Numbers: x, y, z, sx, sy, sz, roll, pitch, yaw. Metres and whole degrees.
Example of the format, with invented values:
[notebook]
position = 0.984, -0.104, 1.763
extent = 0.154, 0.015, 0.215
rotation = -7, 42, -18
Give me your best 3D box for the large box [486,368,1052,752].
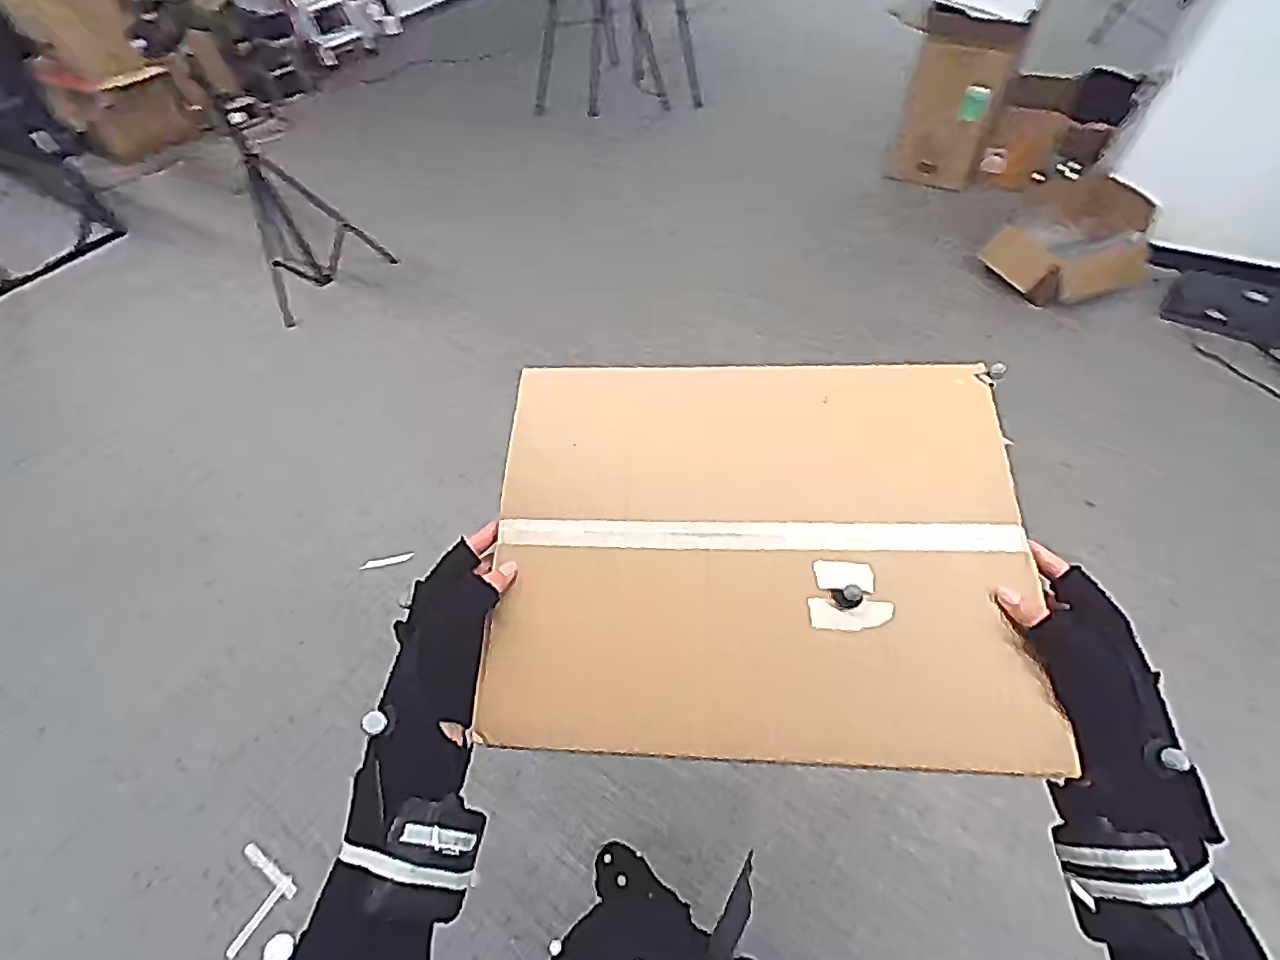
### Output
[large box]
position = 0.093, 0.102, 0.571
extent = 0.408, 0.320, 0.320
rotation = 0, 68, 4
